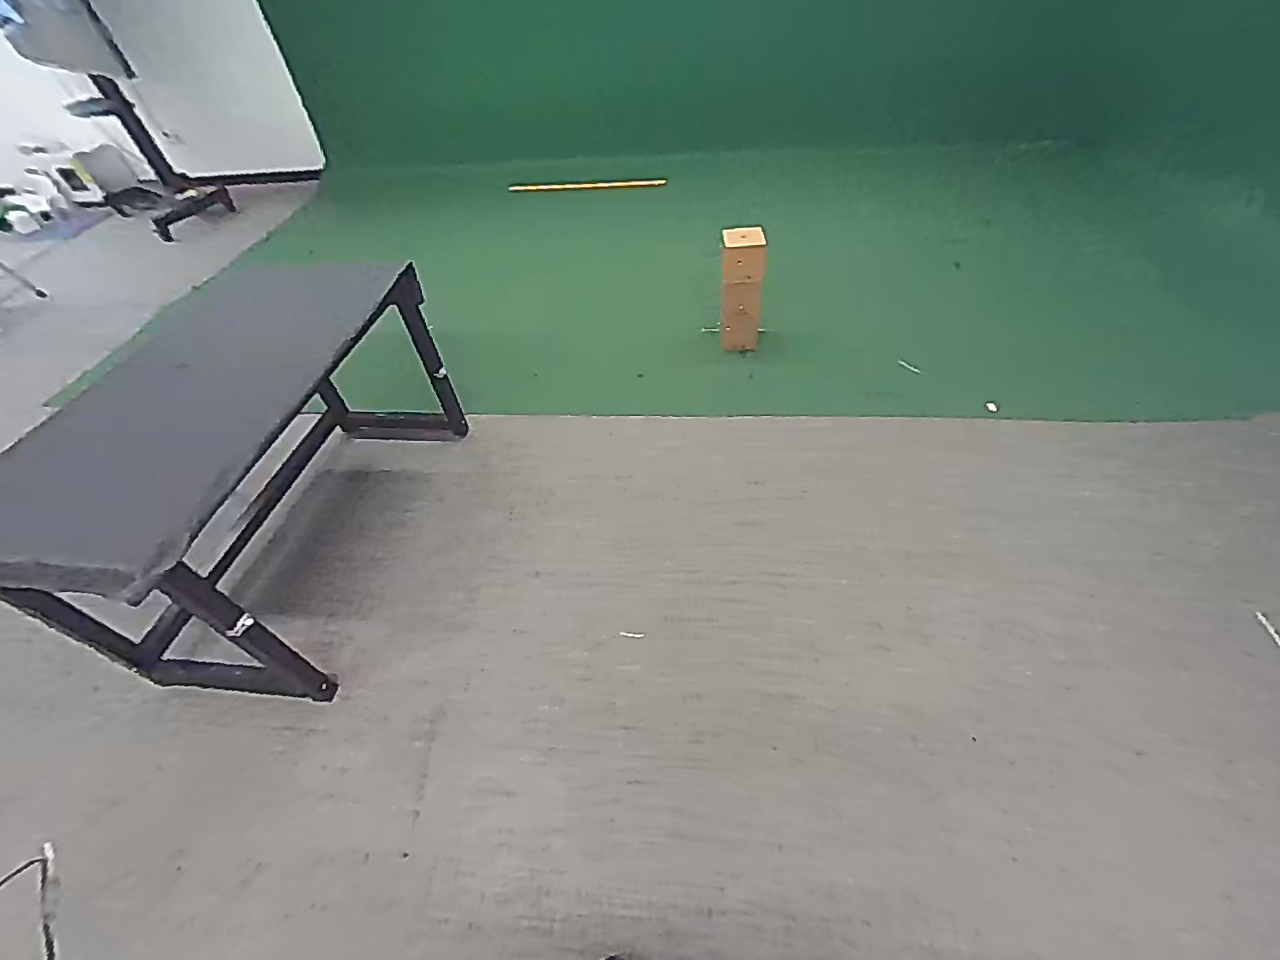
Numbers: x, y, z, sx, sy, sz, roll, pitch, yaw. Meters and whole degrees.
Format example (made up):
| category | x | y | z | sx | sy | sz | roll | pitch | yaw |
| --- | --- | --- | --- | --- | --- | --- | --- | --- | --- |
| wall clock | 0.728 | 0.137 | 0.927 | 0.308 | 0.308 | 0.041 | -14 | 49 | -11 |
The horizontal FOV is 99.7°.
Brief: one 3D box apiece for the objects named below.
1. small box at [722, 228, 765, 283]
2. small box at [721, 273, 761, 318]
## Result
| category | x | y | z | sx | sy | sz | roll | pitch | yaw |
| --- | --- | --- | --- | --- | --- | --- | --- | --- | --- |
| small box | 0.443 | -0.961 | 2.328 | 0.168 | 0.176 | 0.179 | -3 | 46 | 4 |
| small box | 0.454 | -0.853 | 2.448 | 0.168 | 0.176 | 0.179 | -1 | 47 | 6 |
